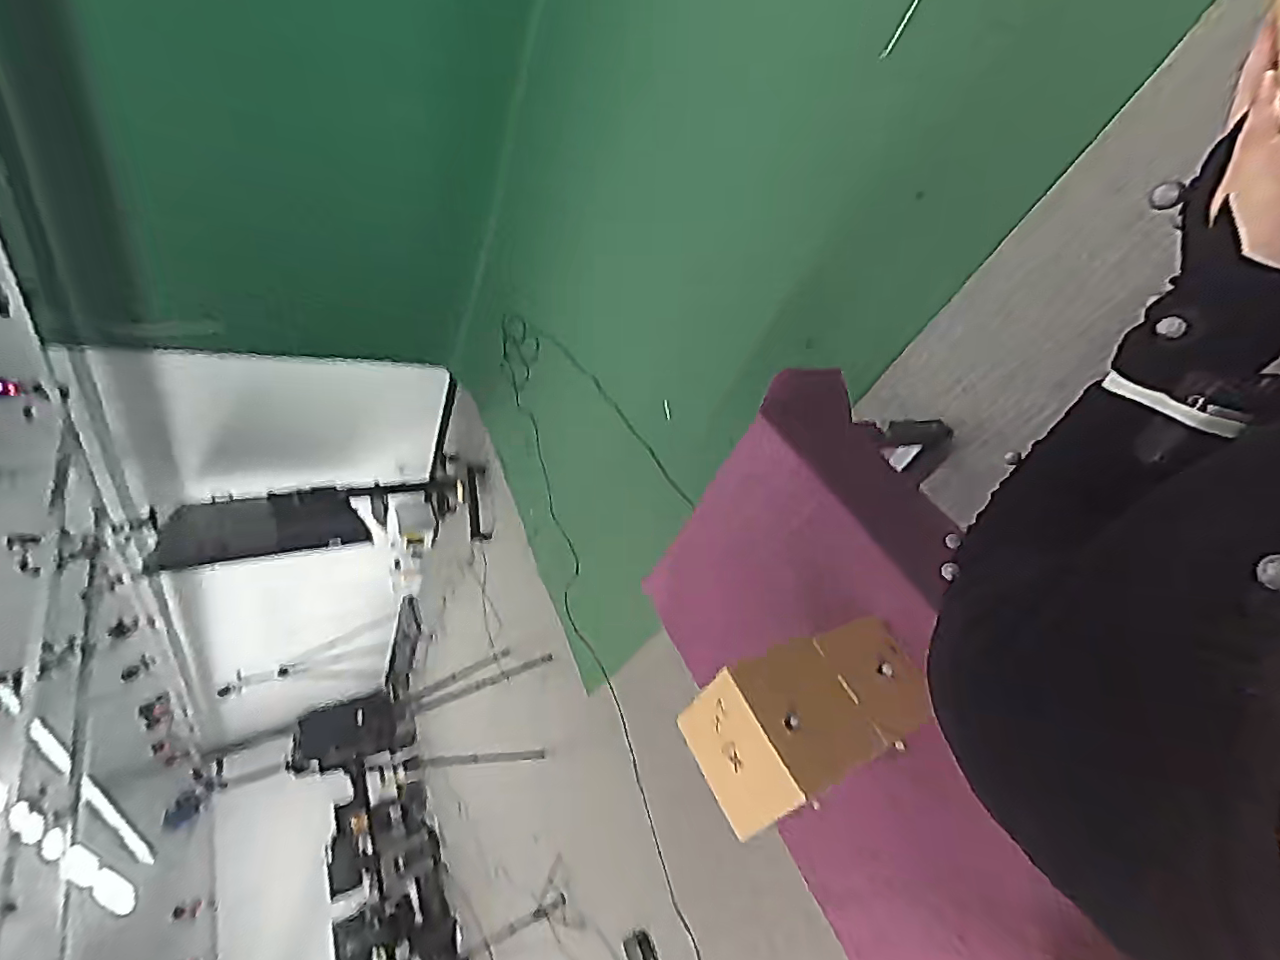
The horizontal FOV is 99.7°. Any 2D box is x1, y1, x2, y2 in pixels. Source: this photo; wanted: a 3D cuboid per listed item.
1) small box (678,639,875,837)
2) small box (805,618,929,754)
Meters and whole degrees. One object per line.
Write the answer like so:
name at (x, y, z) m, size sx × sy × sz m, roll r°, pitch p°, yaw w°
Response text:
small box at (0.191, 0.355, 0.766) m, size 0.179 × 0.176 × 0.168 m, roll 57°, pitch 136°, yaw 33°
small box at (0.324, 0.344, 0.863) m, size 0.168 × 0.176 × 0.179 m, roll 57°, pitch 136°, yaw 32°
